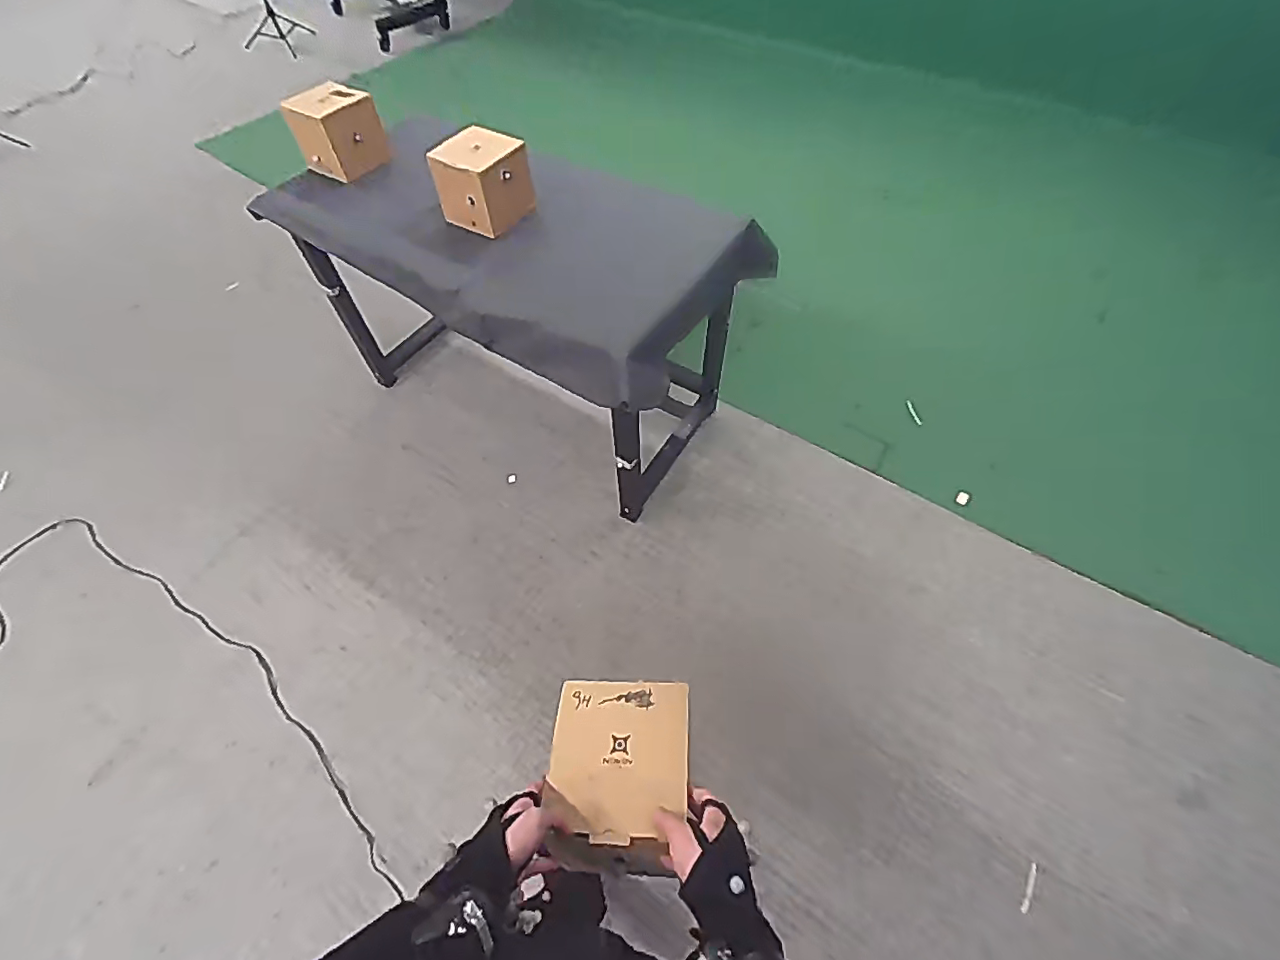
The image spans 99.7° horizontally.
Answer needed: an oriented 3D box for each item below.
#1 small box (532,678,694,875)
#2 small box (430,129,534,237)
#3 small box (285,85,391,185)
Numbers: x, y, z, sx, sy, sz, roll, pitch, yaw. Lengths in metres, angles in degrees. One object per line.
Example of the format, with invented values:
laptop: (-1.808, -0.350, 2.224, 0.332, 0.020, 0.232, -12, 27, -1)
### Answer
small box: (-0.018, 0.369, 0.673, 0.168, 0.176, 0.179, -1, 44, 8)
small box: (-0.386, -0.743, 1.360, 0.168, 0.176, 0.179, 27, 59, 17)
small box: (-0.829, -0.964, 1.513, 0.168, 0.176, 0.179, 27, 60, 18)
